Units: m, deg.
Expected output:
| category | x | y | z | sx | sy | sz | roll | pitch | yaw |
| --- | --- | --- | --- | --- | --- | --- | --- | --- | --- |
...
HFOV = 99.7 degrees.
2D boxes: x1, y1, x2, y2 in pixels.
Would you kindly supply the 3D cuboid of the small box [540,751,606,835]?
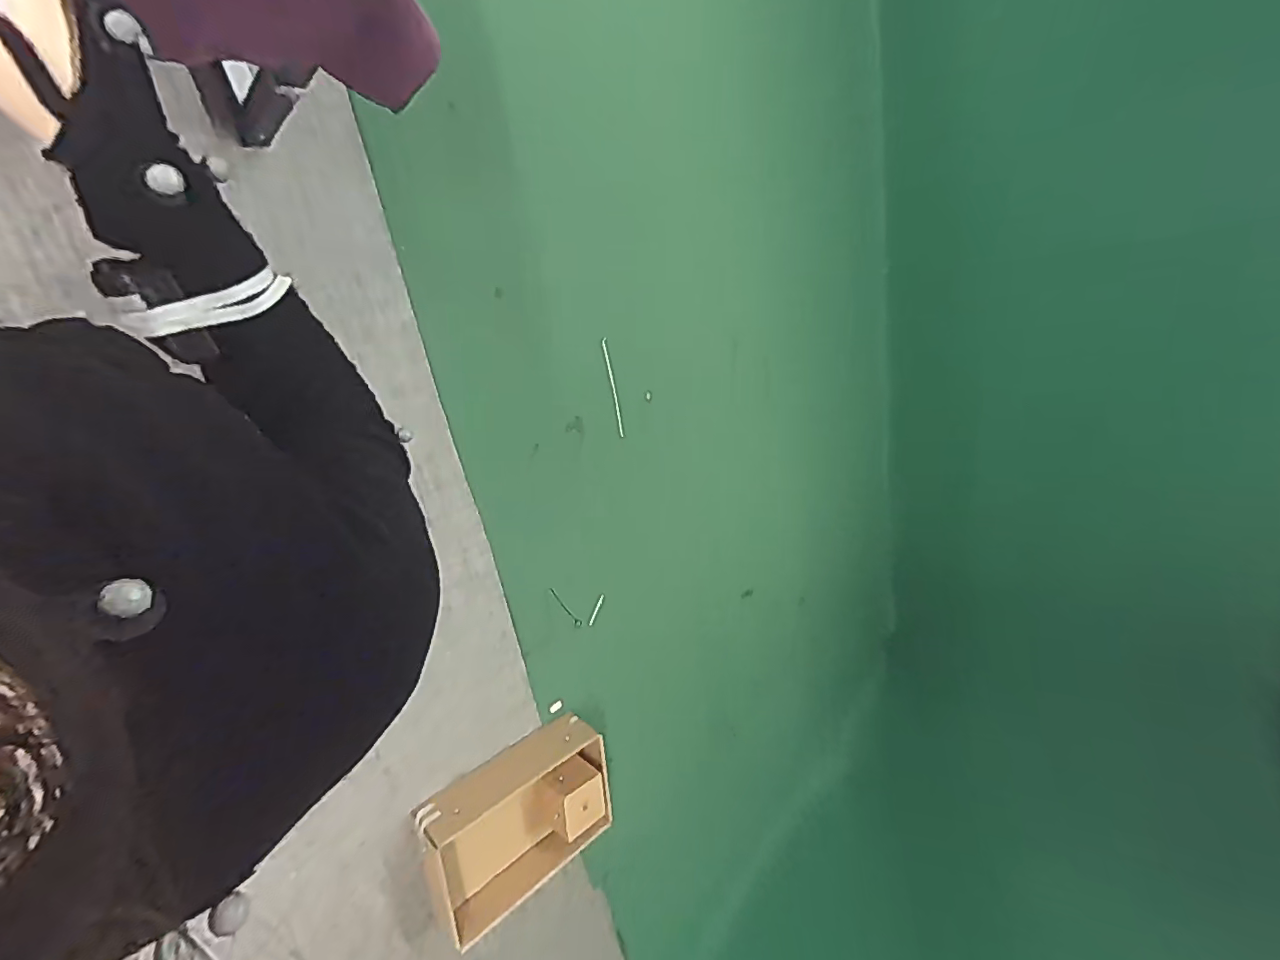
| category | x | y | z | sx | sy | sz | roll | pitch | yaw |
| --- | --- | --- | --- | --- | --- | --- | --- | --- | --- |
| small box | -0.243 | 1.105 | 1.932 | 0.168 | 0.176 | 0.179 | -15 | 107 | -41 |
